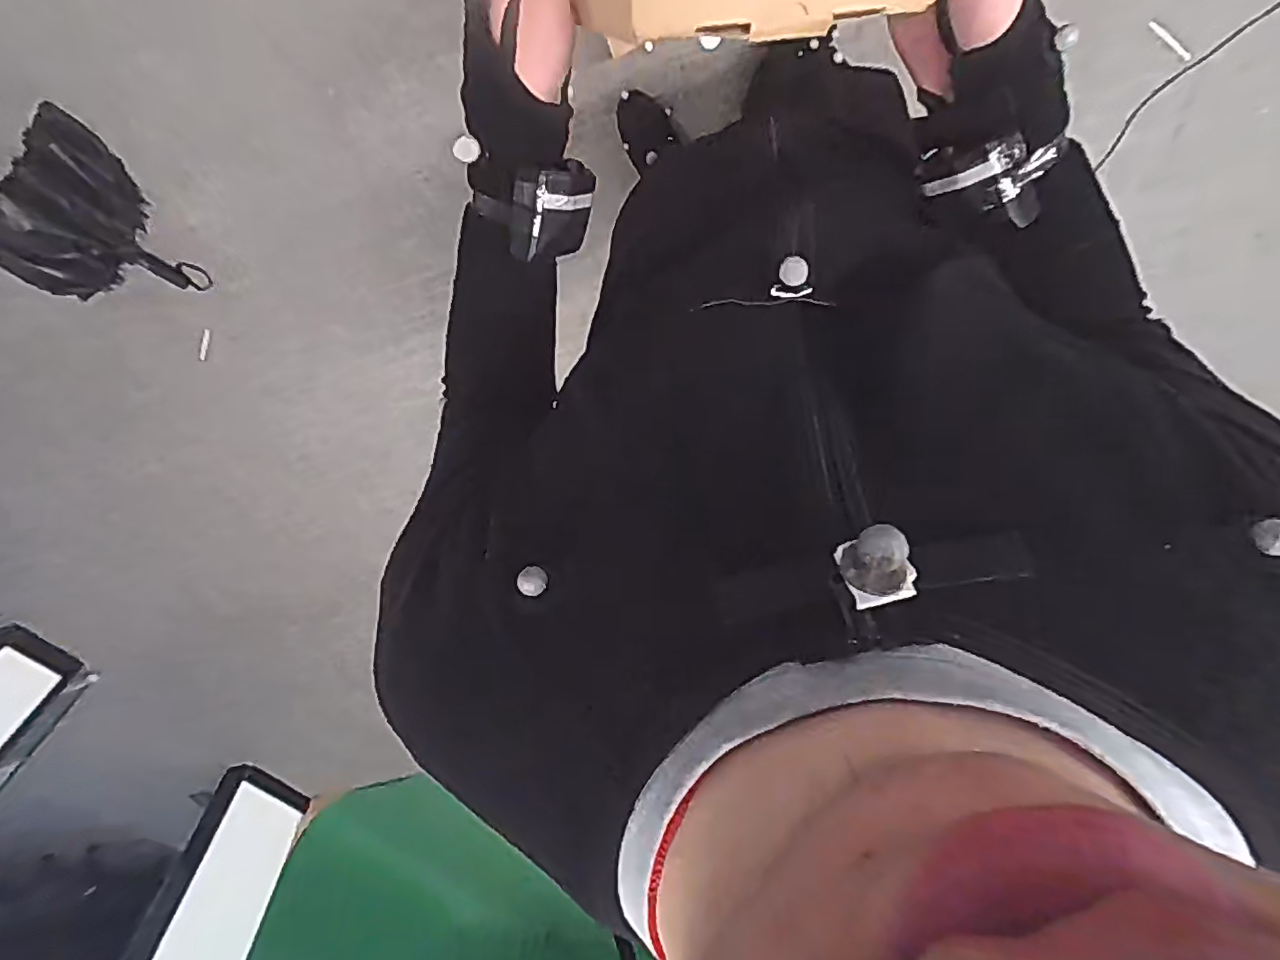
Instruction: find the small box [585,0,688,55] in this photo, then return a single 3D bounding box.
[{"bbox_3d":[-0.025,-0.931,1.011,0.168,0.176,0.179,-21,127,12],"label":"small box"}]
